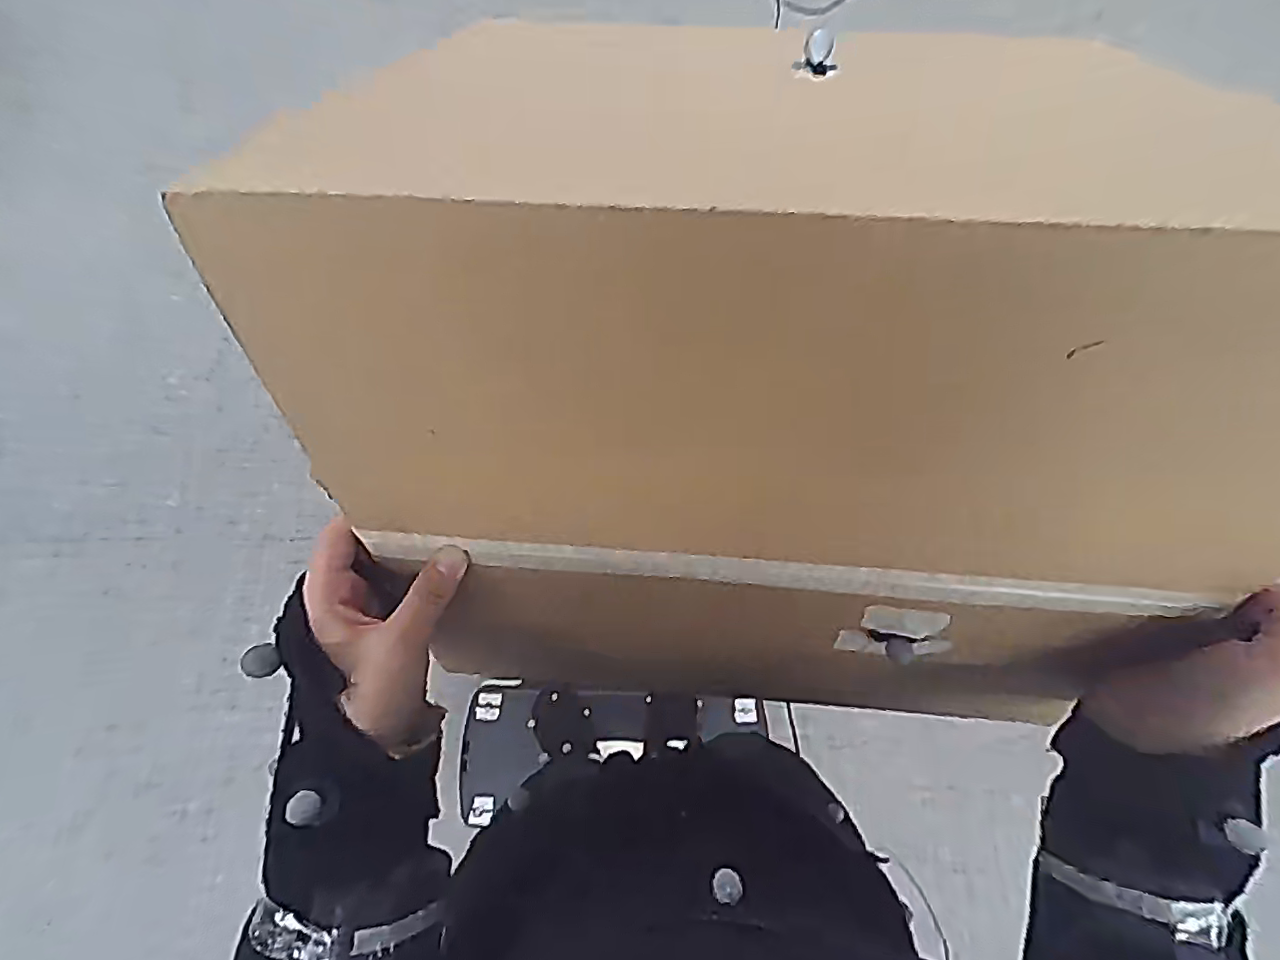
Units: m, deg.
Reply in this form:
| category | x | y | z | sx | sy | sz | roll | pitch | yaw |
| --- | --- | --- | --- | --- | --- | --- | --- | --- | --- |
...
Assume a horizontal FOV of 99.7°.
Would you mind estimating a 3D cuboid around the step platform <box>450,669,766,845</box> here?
| category | x | y | z | sx | sy | sz | roll | pitch | yaw |
| --- | --- | --- | --- | --- | --- | --- | --- | --- | --- |
| step platform | -0.064 | 0.612 | 1.223 | 0.684 | 0.204 | 0.286 | 6 | 74 | 0 |
